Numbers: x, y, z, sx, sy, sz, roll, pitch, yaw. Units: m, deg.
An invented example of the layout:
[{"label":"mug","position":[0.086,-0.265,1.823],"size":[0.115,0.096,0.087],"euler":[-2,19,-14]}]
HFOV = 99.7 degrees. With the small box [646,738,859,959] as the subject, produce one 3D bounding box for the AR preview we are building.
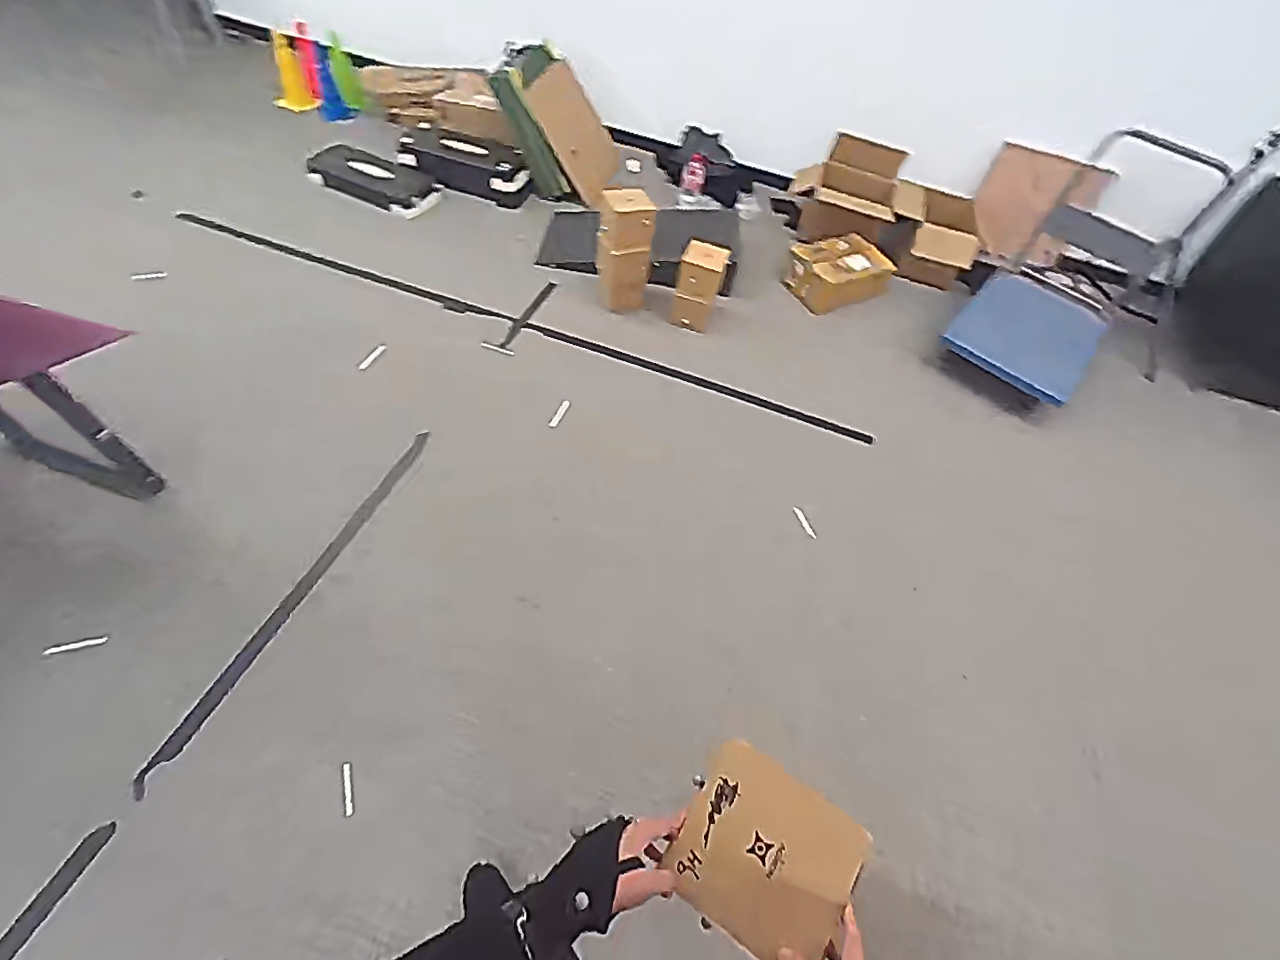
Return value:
[{"label":"small box","position":[0.123,0.438,0.650],"size":[0.179,0.176,0.168],"euler":[32,66,16]}]
